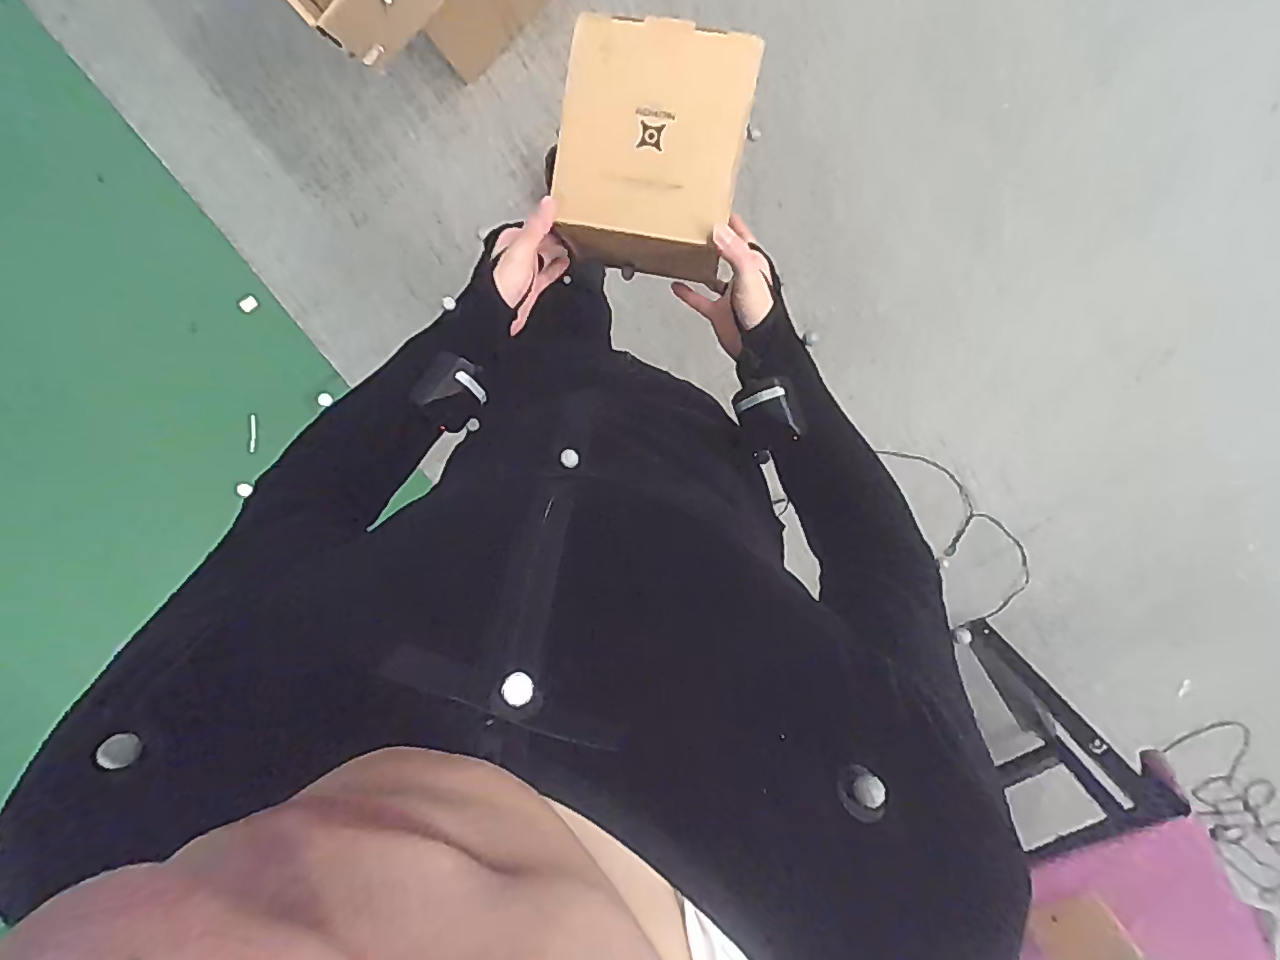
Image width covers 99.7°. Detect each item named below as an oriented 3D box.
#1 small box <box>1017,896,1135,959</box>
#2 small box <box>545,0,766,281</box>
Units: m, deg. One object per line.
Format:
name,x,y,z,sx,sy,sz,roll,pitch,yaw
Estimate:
small box,0.968,1.045,1.158,0.168,0.176,0.179,-39,106,12
small box,0.015,-0.319,0.543,0.168,0.176,0.179,11,100,3
